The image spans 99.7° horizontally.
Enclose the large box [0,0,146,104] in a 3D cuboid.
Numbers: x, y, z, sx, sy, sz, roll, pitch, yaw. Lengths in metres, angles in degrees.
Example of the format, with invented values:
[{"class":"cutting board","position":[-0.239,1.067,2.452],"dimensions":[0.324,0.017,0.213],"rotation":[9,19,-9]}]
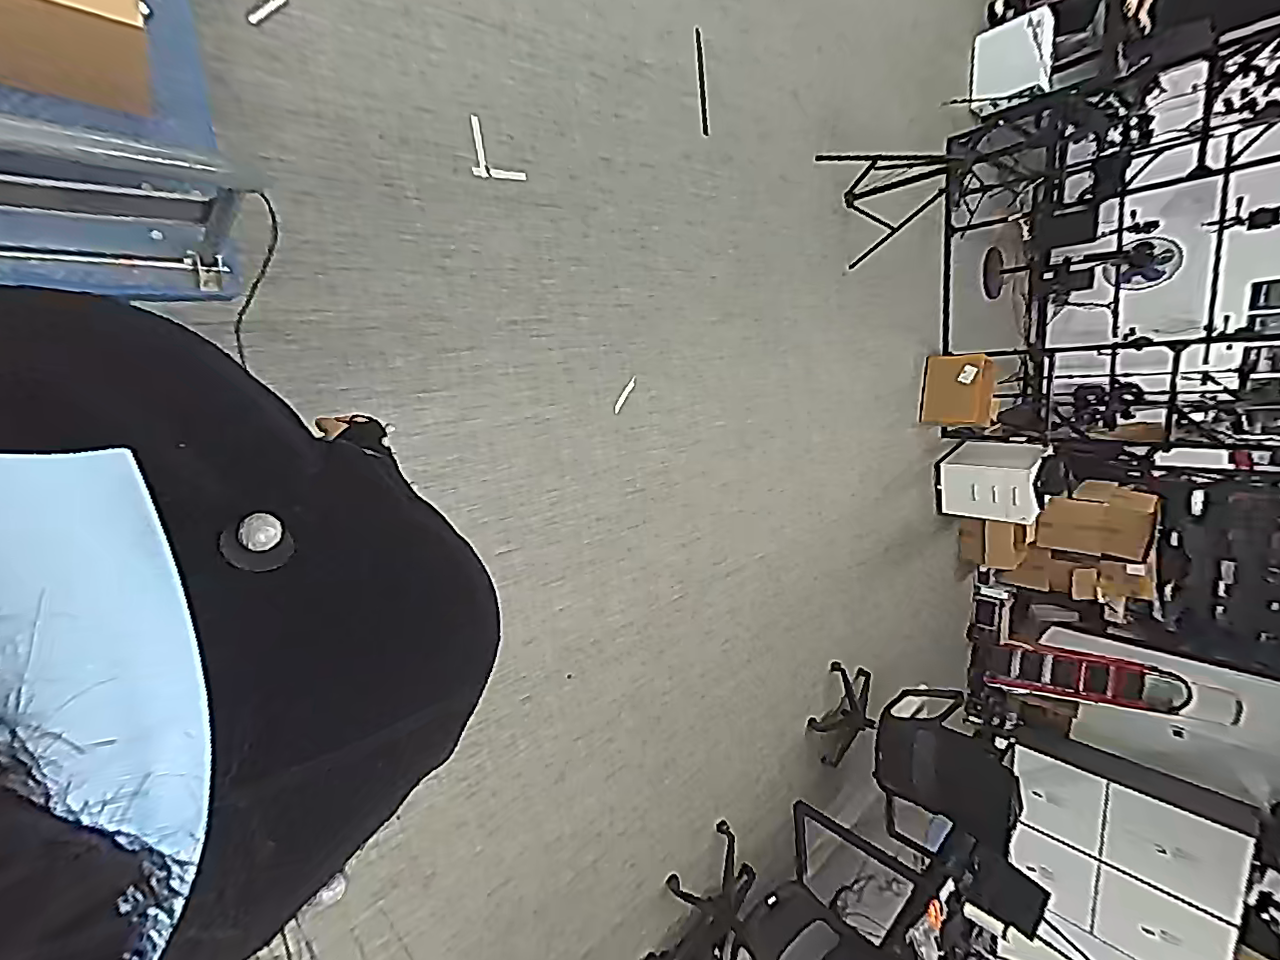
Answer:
[{"class":"large box","position":[-0.938,-0.763,0.696],"dimensions":[0.408,0.320,0.320],"rotation":[-10,102,-40]}]
